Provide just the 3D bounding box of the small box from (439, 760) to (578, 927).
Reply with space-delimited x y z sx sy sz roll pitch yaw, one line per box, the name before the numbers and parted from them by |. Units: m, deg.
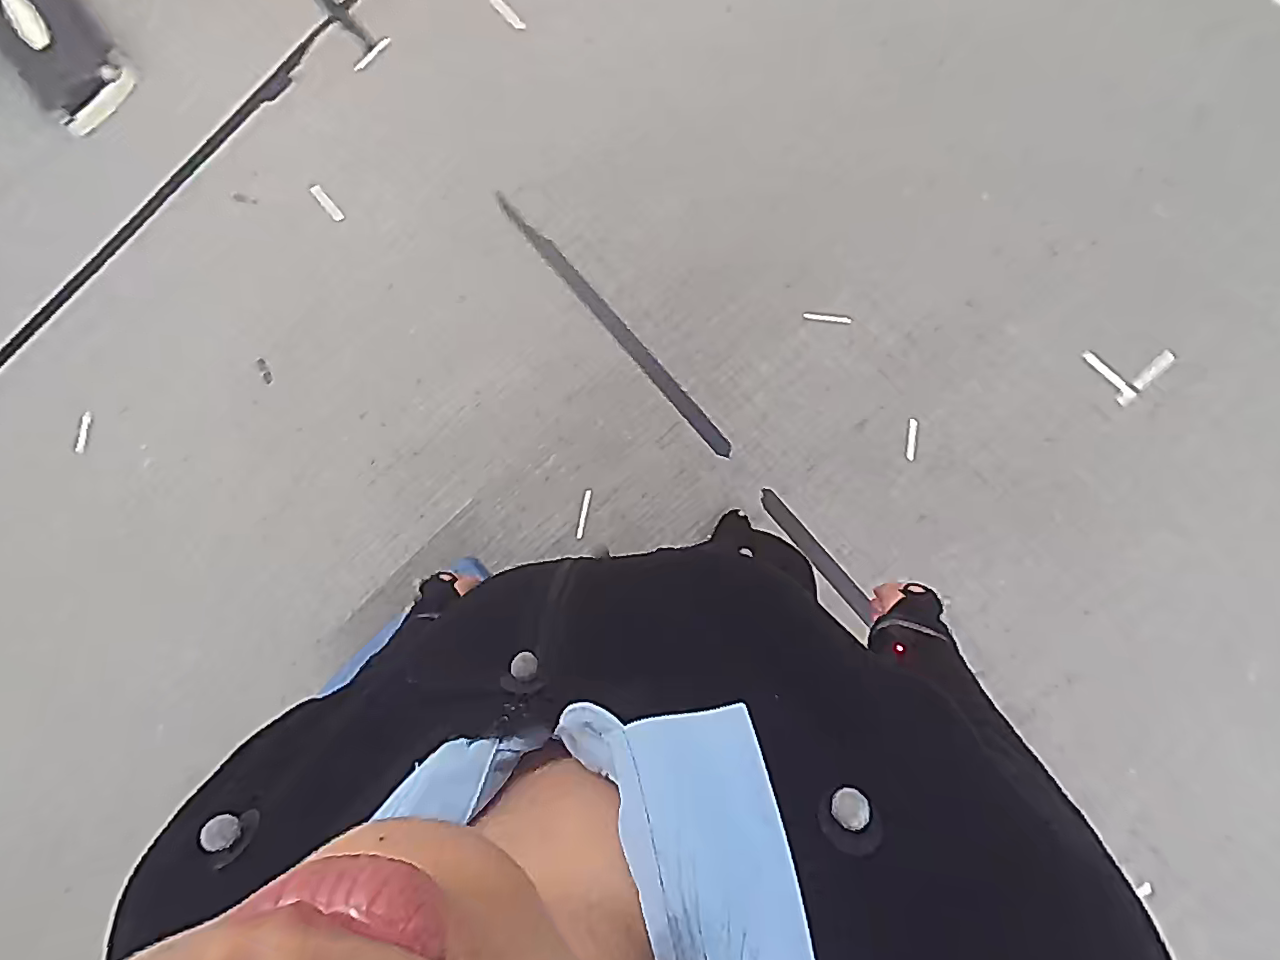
small box | -0.246 0.695 1.057 0.179 0.176 0.168 -41 83 1
